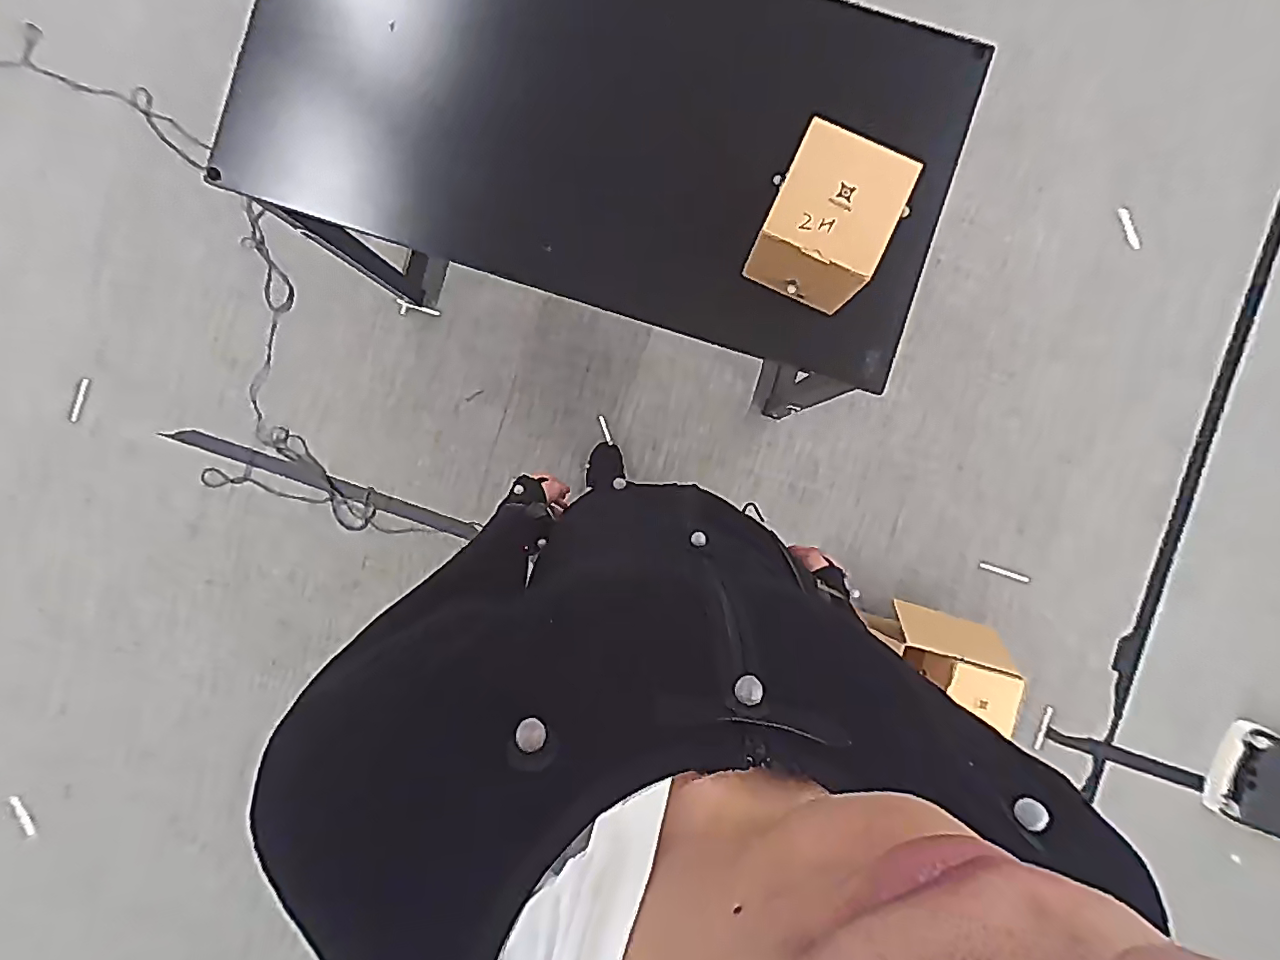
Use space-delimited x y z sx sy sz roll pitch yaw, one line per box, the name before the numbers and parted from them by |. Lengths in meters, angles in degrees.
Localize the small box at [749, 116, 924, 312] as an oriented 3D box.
small box | 0.279 -0.385 0.814 0.168 0.176 0.179 25 91 1
